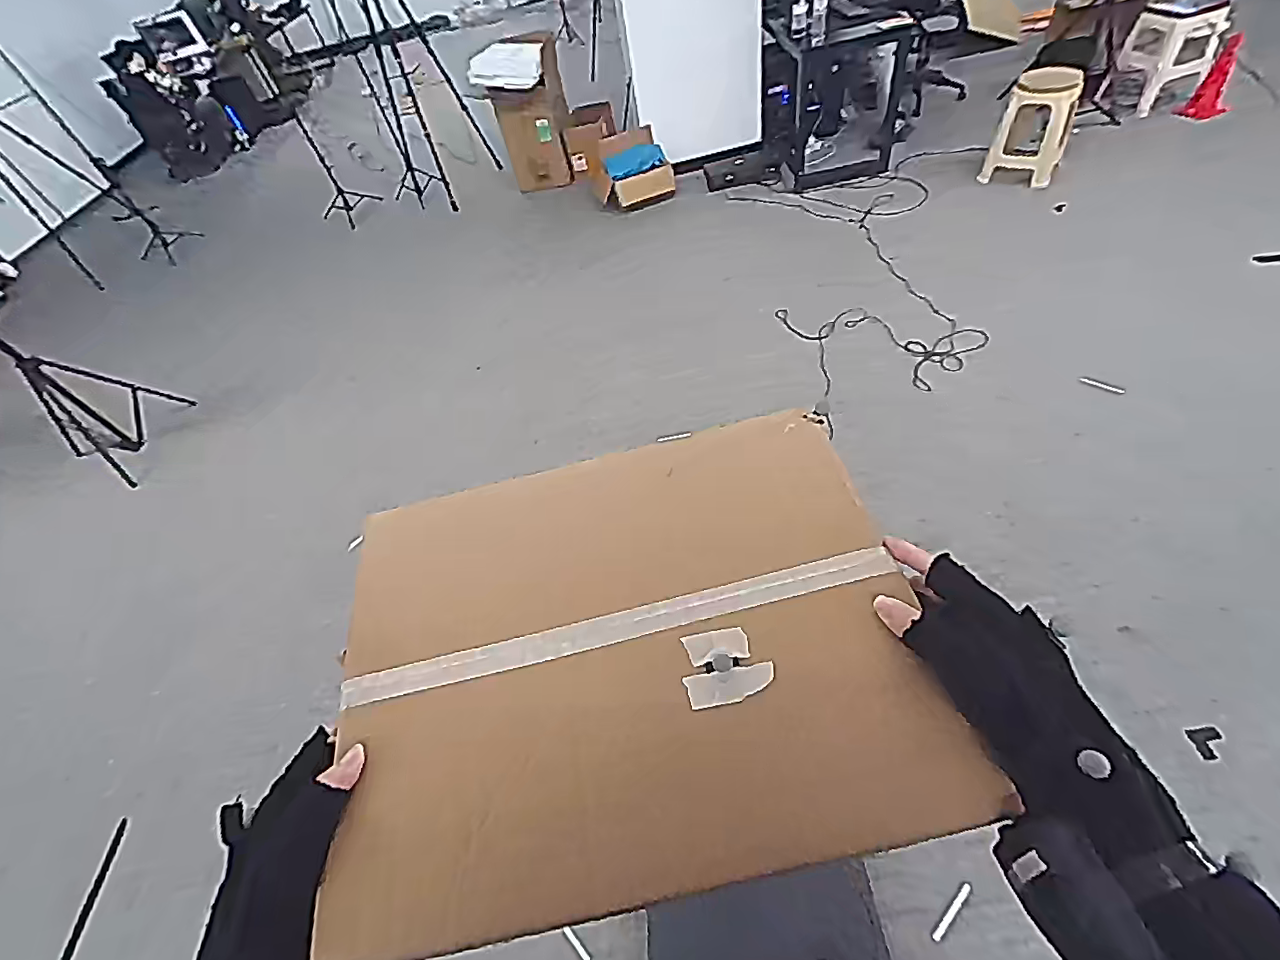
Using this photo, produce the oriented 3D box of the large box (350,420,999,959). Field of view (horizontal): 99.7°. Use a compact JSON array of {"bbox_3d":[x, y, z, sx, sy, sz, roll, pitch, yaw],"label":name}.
[{"bbox_3d":[0.013,0.197,0.522,0.408,0.320,0.320,-14,54,0],"label":"large box"}]
